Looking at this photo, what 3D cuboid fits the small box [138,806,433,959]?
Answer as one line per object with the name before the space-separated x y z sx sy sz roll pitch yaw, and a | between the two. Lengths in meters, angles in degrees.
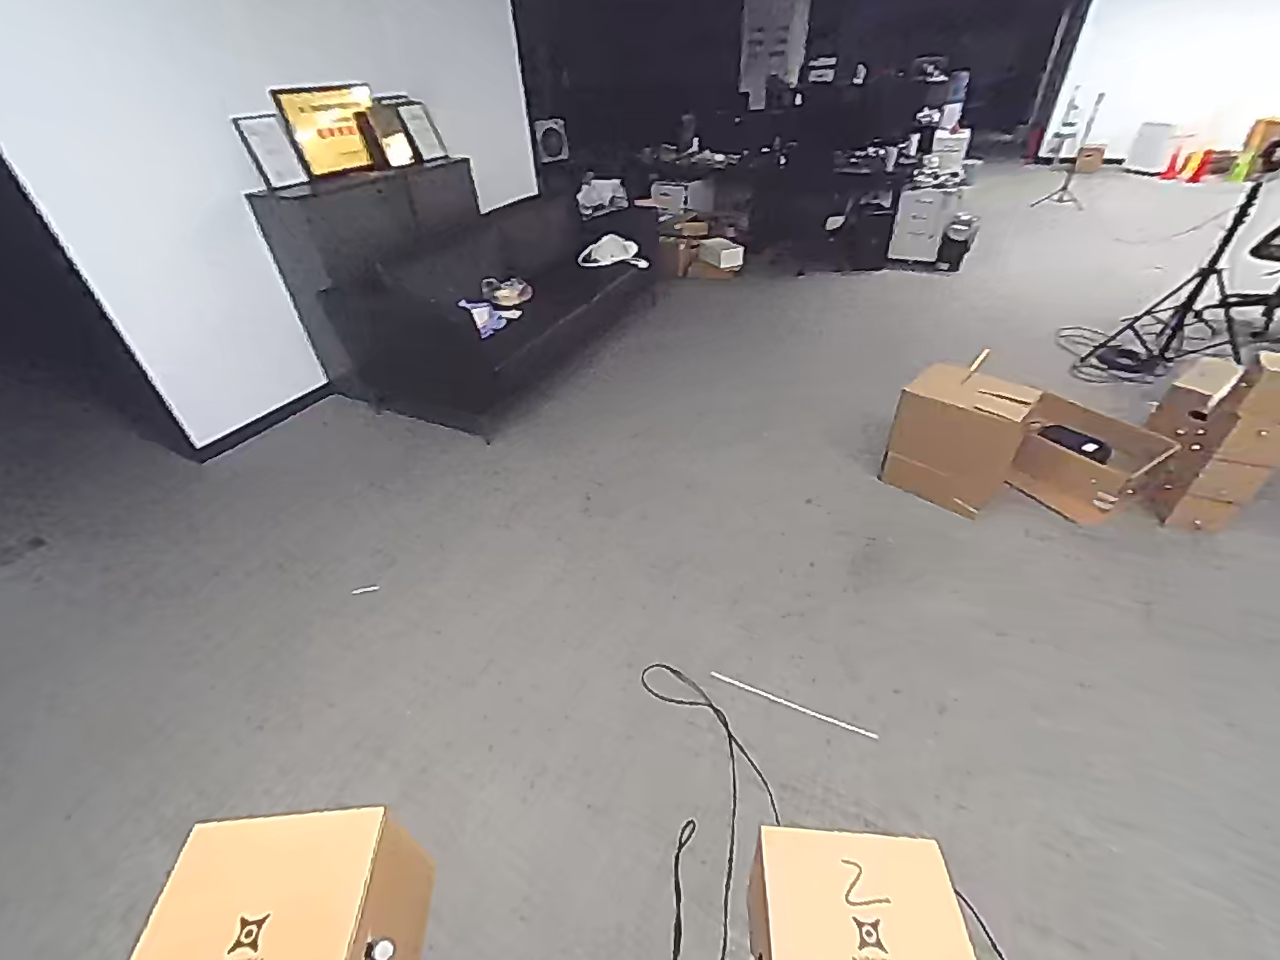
small box | -0.294 0.411 0.466 0.168 0.176 0.179 -3 41 -2
